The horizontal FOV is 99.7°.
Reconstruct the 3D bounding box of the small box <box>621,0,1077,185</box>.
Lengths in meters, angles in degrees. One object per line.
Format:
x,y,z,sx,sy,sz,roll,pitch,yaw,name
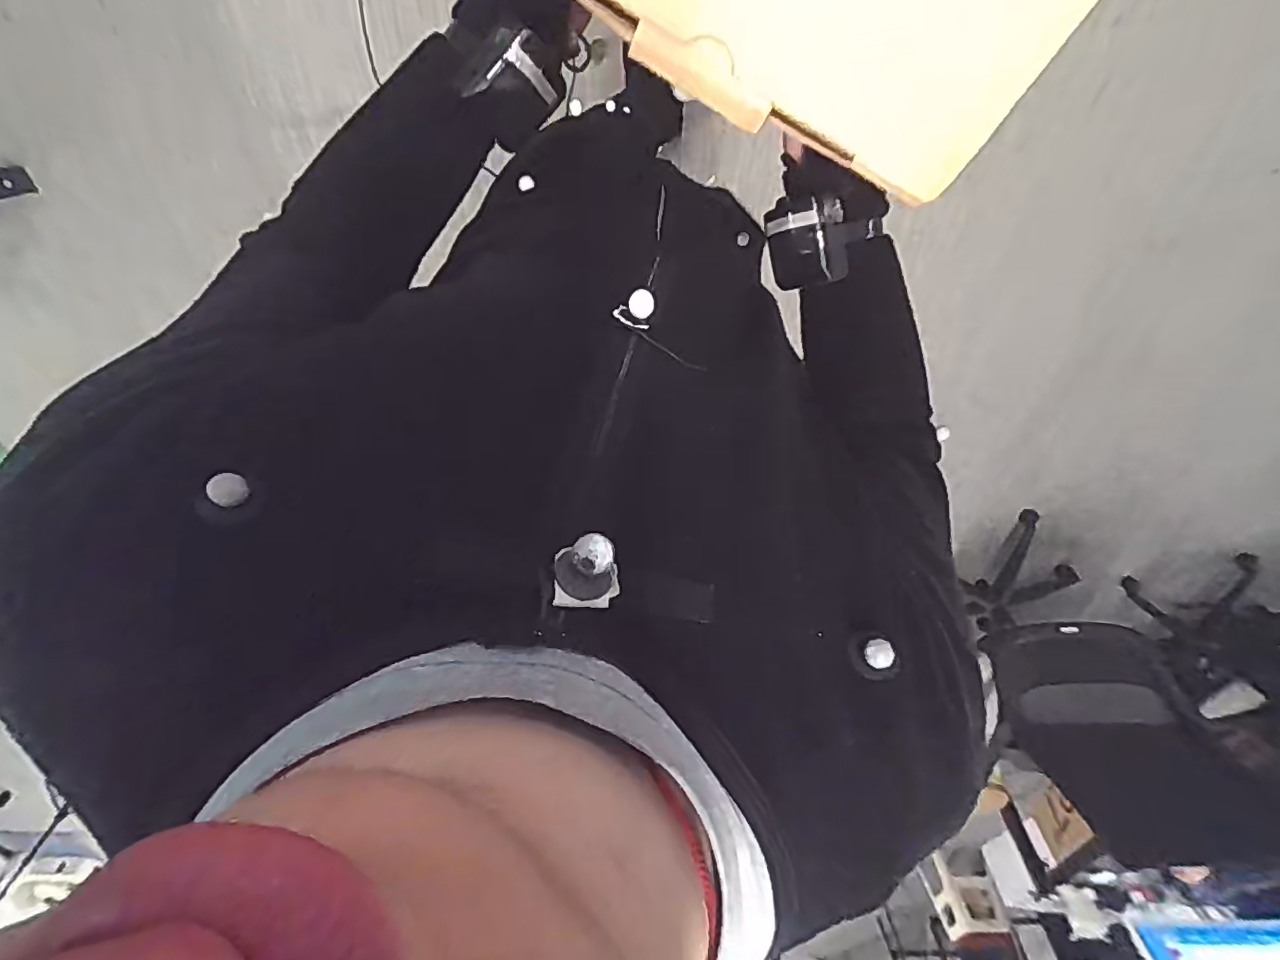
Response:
0.062,-0.230,0.155,0.168,0.176,0.179,23,131,-14,small box
